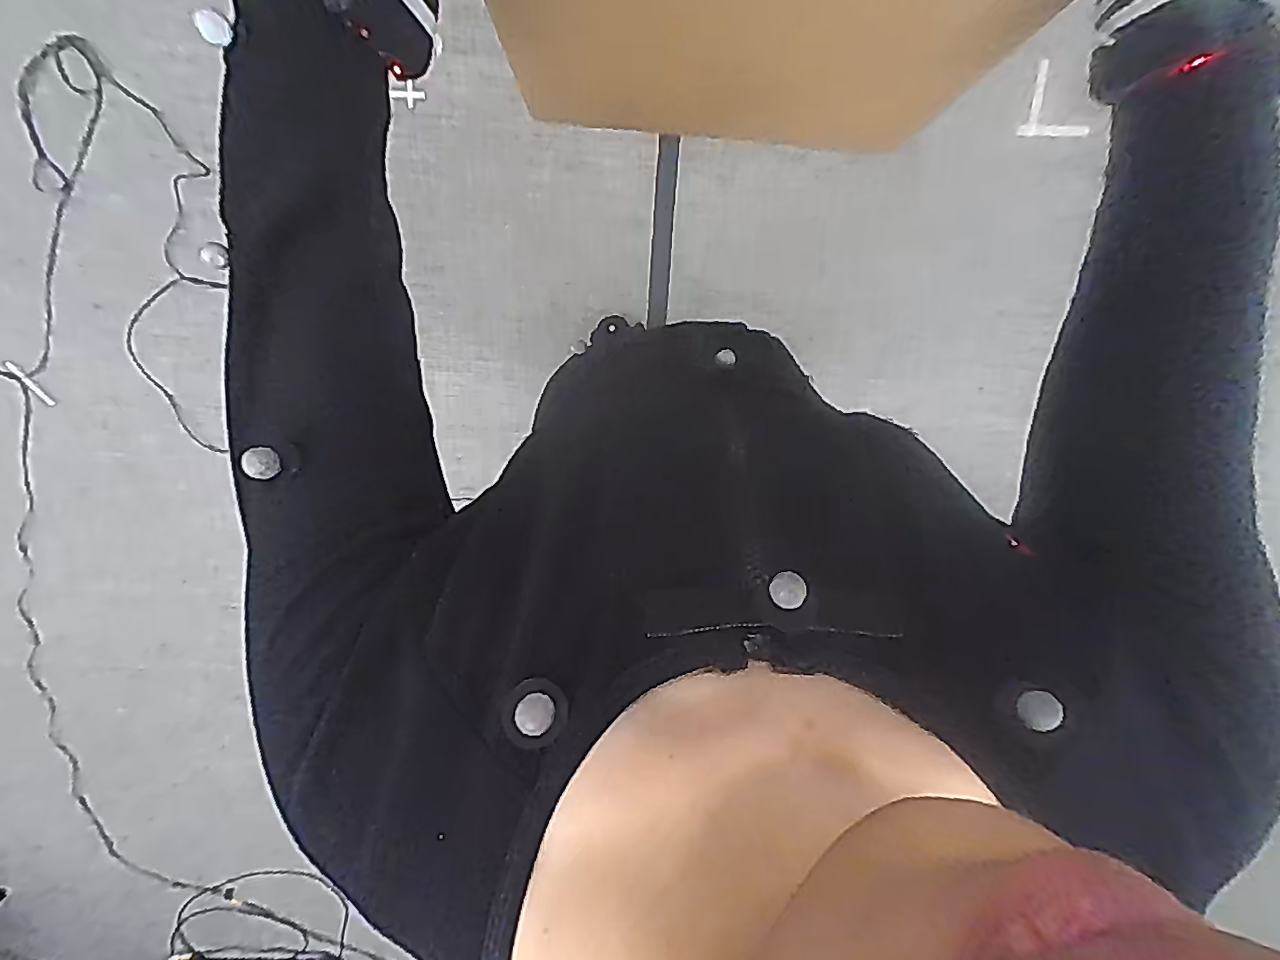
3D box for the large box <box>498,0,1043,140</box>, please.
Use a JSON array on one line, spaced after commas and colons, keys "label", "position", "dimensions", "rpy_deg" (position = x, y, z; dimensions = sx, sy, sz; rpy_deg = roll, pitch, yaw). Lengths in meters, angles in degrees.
[{"label": "large box", "position": [0.093, -0.504, 0.420], "dimensions": [0.408, 0.320, 0.320], "rpy_deg": [3, 102, -2]}]
